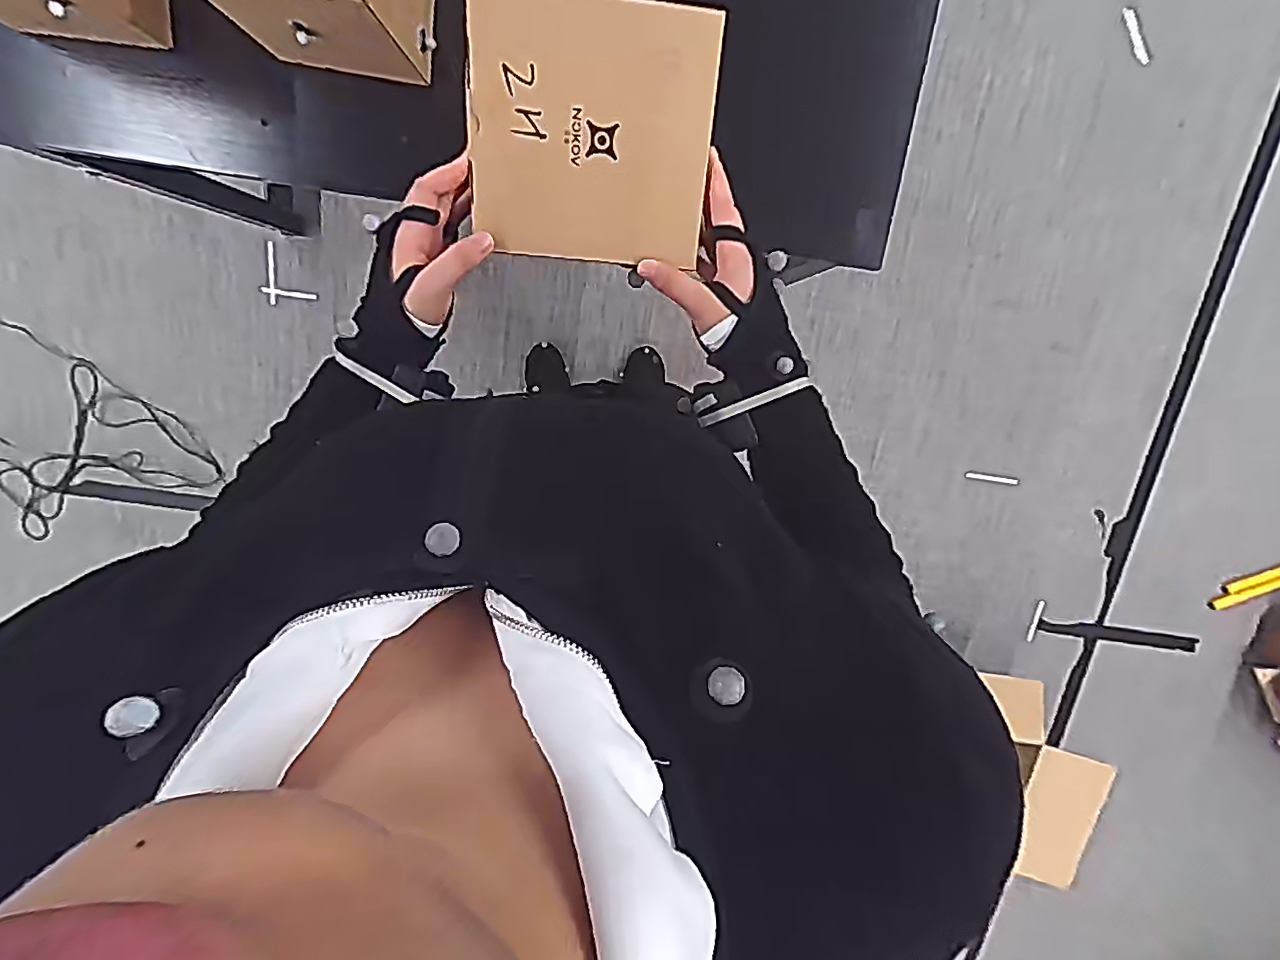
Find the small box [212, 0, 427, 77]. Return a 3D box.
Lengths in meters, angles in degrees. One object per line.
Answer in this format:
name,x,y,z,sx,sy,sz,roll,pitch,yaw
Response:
small box,-0.320,-0.538,0.536,0.179,0.176,0.168,8,103,-2

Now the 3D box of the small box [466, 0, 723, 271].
small box,-0.040,-0.278,0.464,0.179,0.176,0.168,5,112,-4

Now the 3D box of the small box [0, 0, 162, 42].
small box,-0.613,-0.566,0.523,0.179,0.176,0.168,5,103,-2
